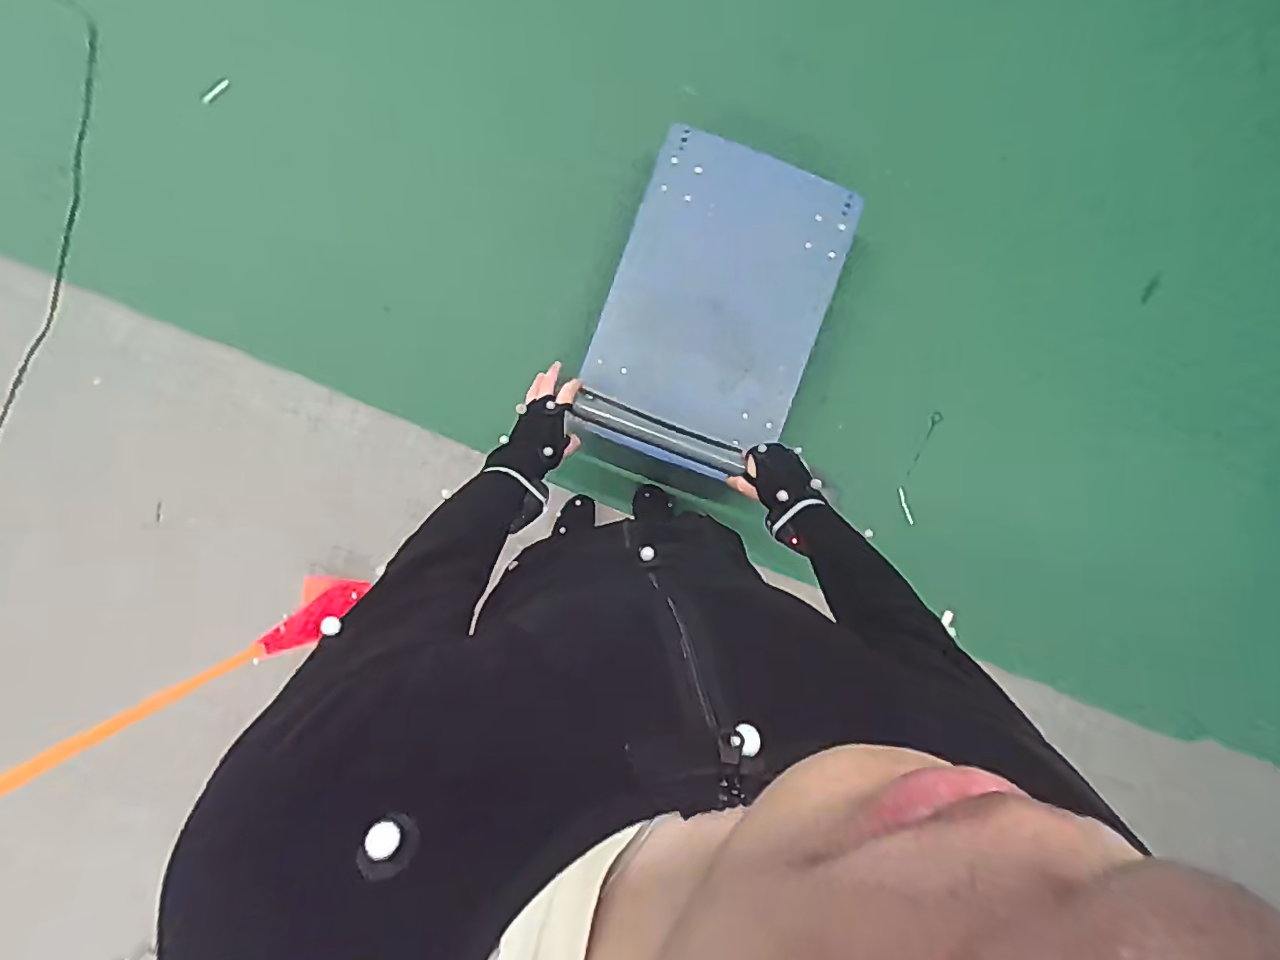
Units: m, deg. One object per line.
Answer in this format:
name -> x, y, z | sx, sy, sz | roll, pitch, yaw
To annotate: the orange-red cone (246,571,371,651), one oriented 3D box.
orange-red cone -> -0.901, 0.378, 1.427 | 0.199, 0.360, 0.198 | 8, 90, -1
